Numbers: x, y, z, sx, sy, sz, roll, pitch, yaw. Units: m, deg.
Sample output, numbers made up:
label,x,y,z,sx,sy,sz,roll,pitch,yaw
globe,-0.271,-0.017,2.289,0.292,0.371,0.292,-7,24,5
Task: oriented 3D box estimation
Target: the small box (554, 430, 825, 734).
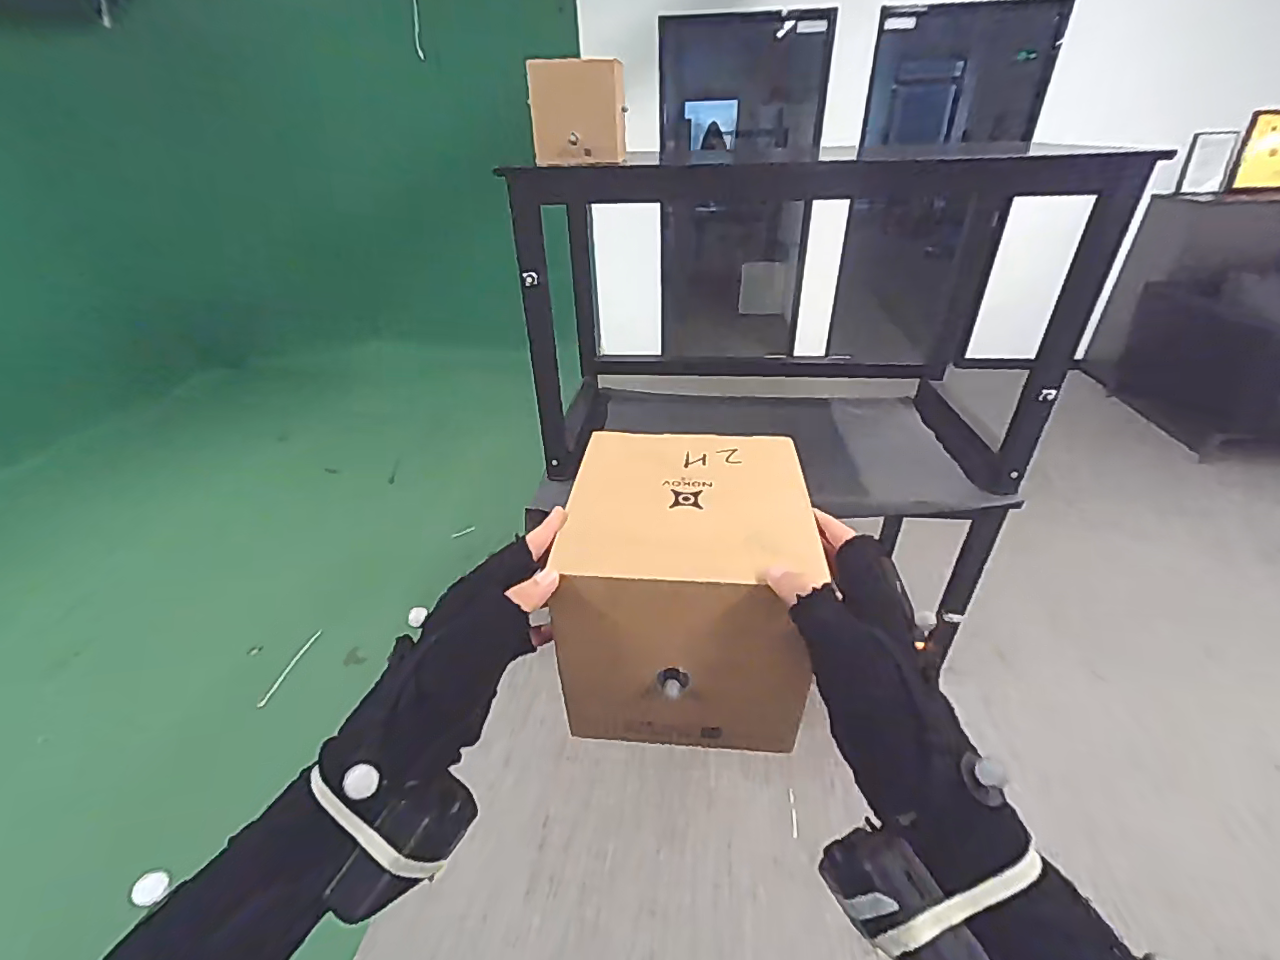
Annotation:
label,x,y,z,sx,sy,sz,roll,pitch,yaw
small box,0.039,0.075,0.432,0.168,0.176,0.179,2,33,5
